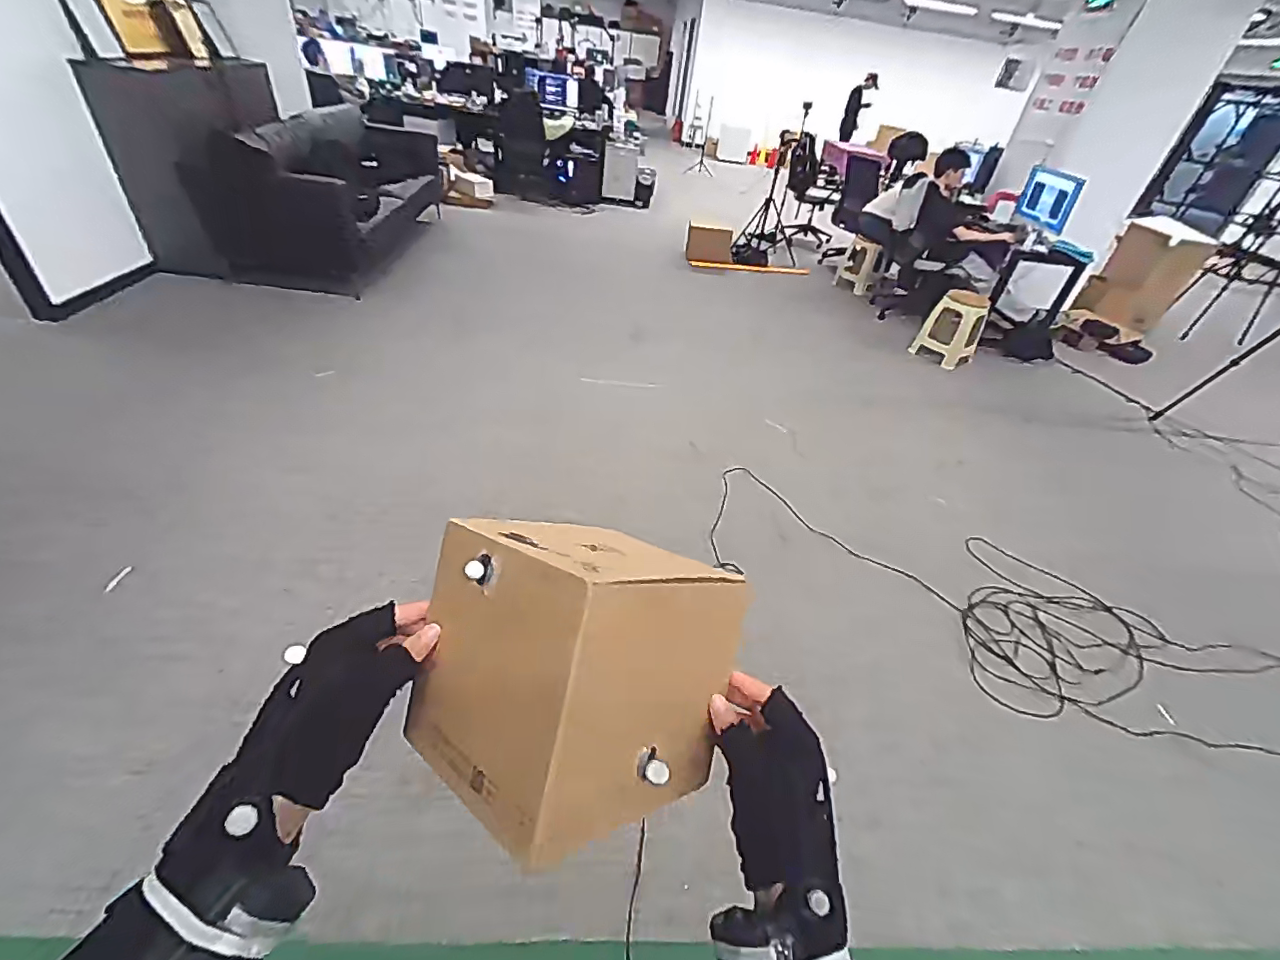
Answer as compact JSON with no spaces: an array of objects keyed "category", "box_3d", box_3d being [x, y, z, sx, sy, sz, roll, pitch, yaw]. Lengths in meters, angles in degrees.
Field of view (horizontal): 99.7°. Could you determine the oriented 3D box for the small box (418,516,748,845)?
[{"category":"small box","box_3d":[-0.044,0.134,0.423,0.168,0.176,0.179,12,0,43]}]
